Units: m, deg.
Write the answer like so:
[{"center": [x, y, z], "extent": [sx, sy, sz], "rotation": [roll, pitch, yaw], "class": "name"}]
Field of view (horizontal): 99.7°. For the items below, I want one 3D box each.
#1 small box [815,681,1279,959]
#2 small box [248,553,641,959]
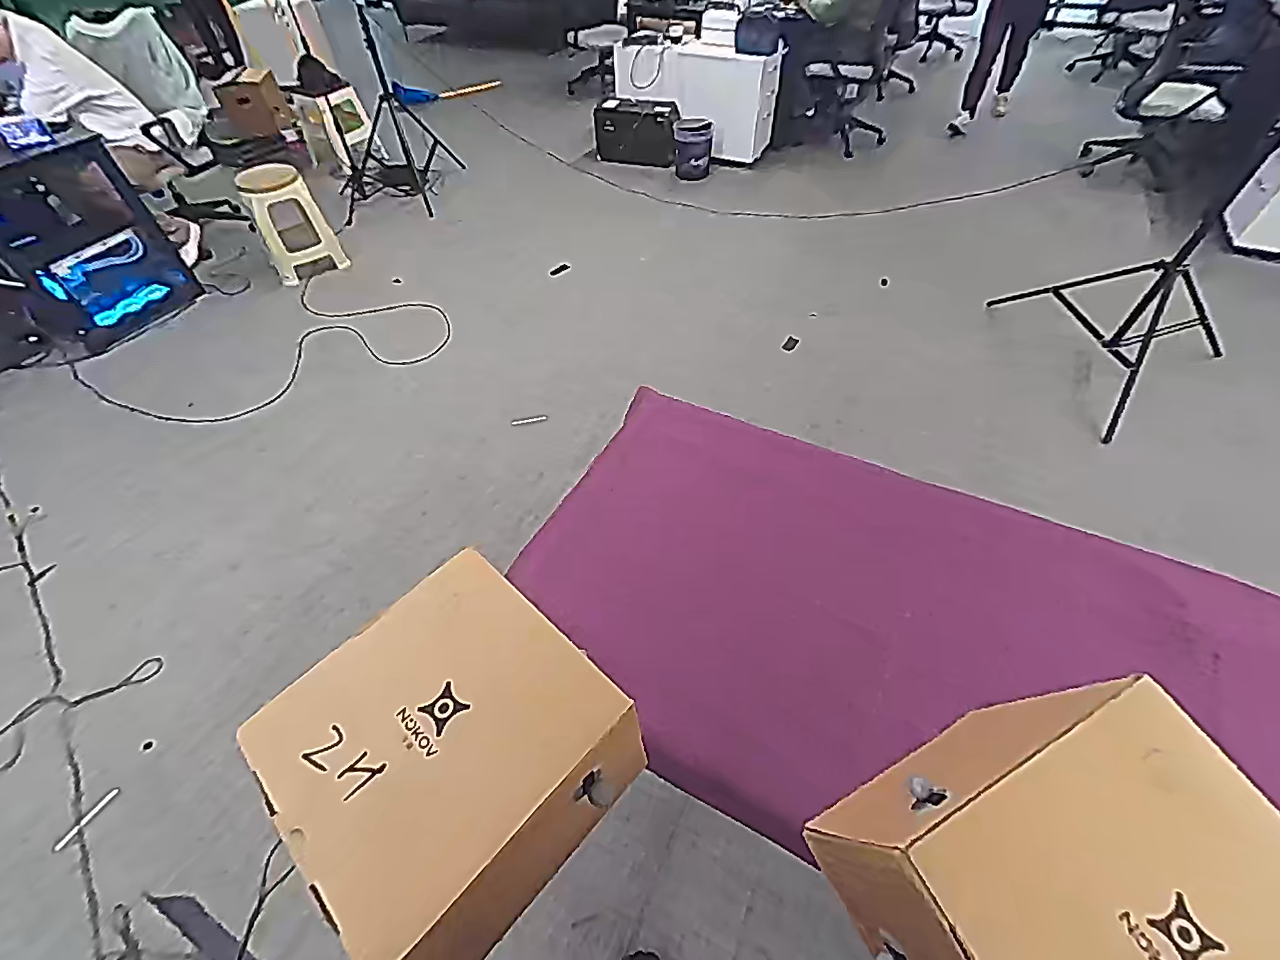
[{"center": [0.235, 0.243, 0.314], "extent": [0.179, 0.176, 0.168], "rotation": [-24, 64, -14], "class": "small box"}, {"center": [-0.113, 0.192, 0.384], "extent": [0.168, 0.176, 0.179], "rotation": [34, 62, 28], "class": "small box"}]
